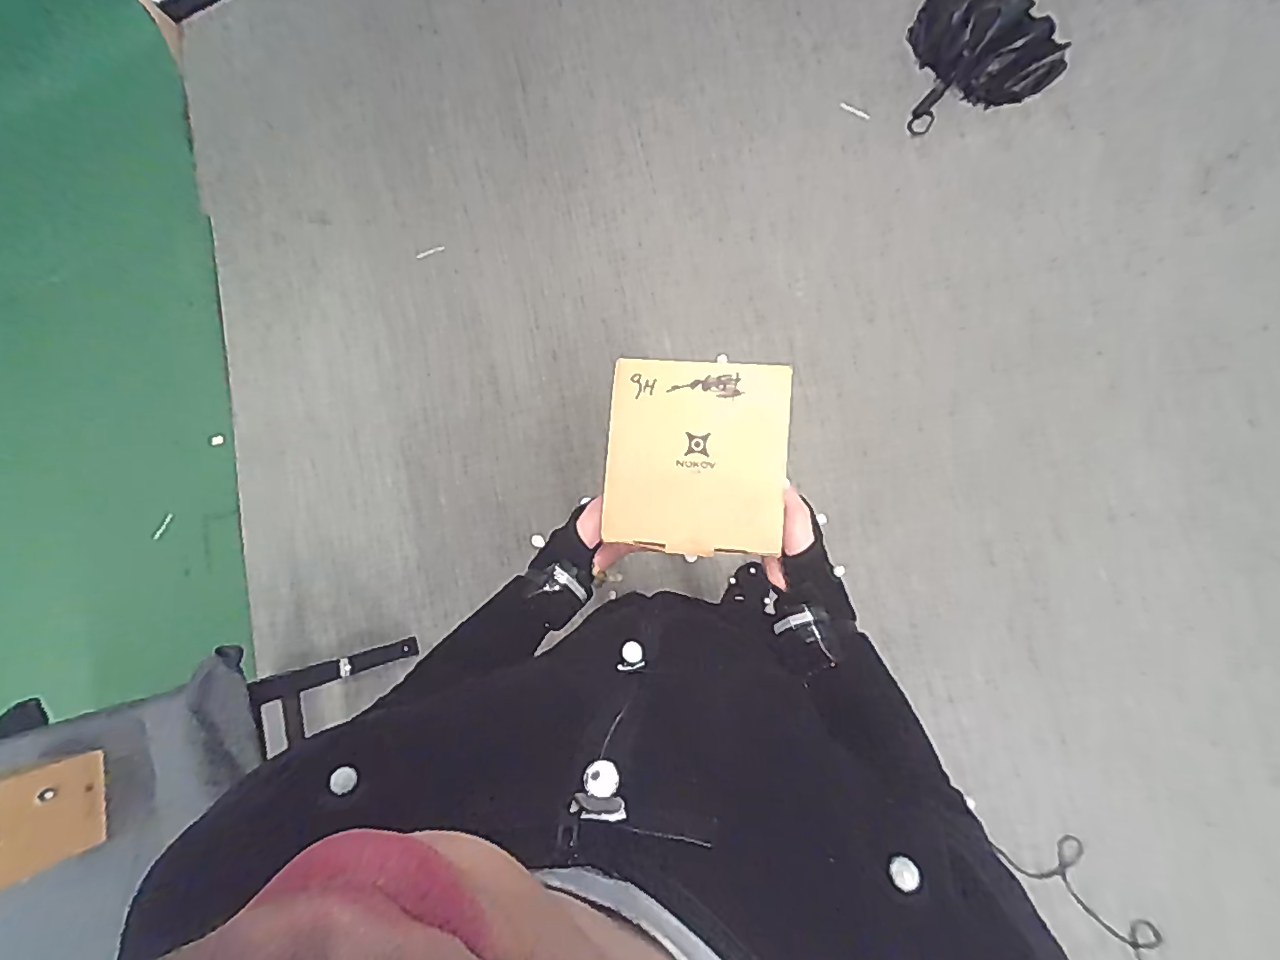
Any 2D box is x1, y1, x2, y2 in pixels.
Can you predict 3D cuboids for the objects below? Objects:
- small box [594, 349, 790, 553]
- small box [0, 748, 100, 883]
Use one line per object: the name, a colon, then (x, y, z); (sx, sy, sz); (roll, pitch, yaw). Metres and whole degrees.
small box: (0.055, -0.023, 0.565); (0.168, 0.176, 0.179); (5, 85, 6)
small box: (-1.103, 0.588, 0.946); (0.179, 0.176, 0.168); (-13, 79, 11)
